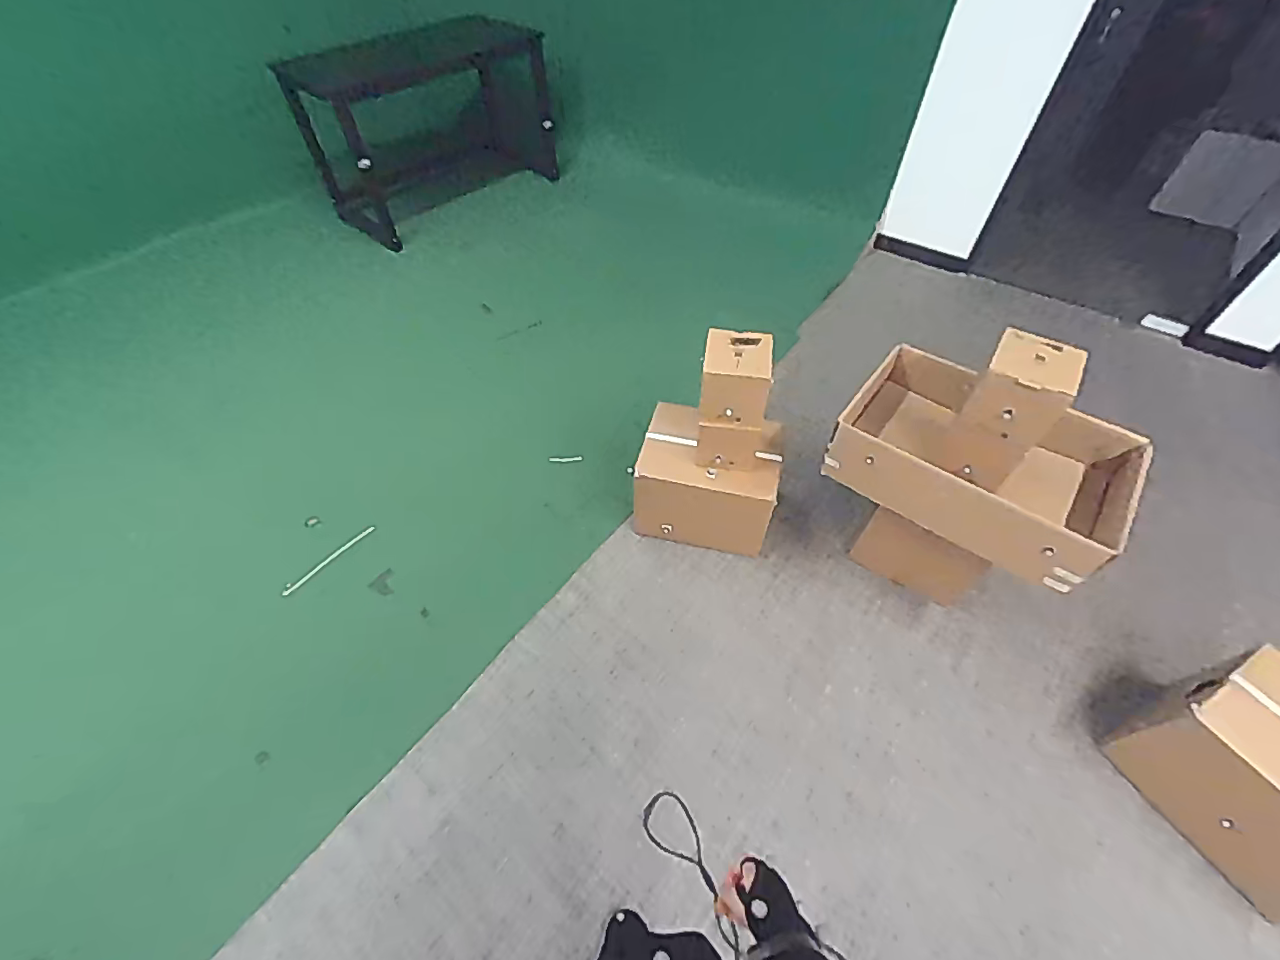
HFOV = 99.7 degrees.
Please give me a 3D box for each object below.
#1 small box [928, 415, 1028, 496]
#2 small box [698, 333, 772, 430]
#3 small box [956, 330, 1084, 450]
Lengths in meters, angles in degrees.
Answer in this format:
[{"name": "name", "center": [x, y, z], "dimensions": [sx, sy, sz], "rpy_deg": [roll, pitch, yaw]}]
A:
[{"name": "small box", "center": [0.849, -0.095, 1.341], "dimensions": [0.168, 0.176, 0.179], "rpy_deg": [30, 58, 23]}, {"name": "small box", "center": [0.244, -0.256, 1.404], "dimensions": [0.168, 0.176, 0.179], "rpy_deg": [7, 51, 7]}, {"name": "small box", "center": [0.842, -0.199, 1.214], "dimensions": [0.168, 0.176, 0.179], "rpy_deg": [28, 58, 21]}]
